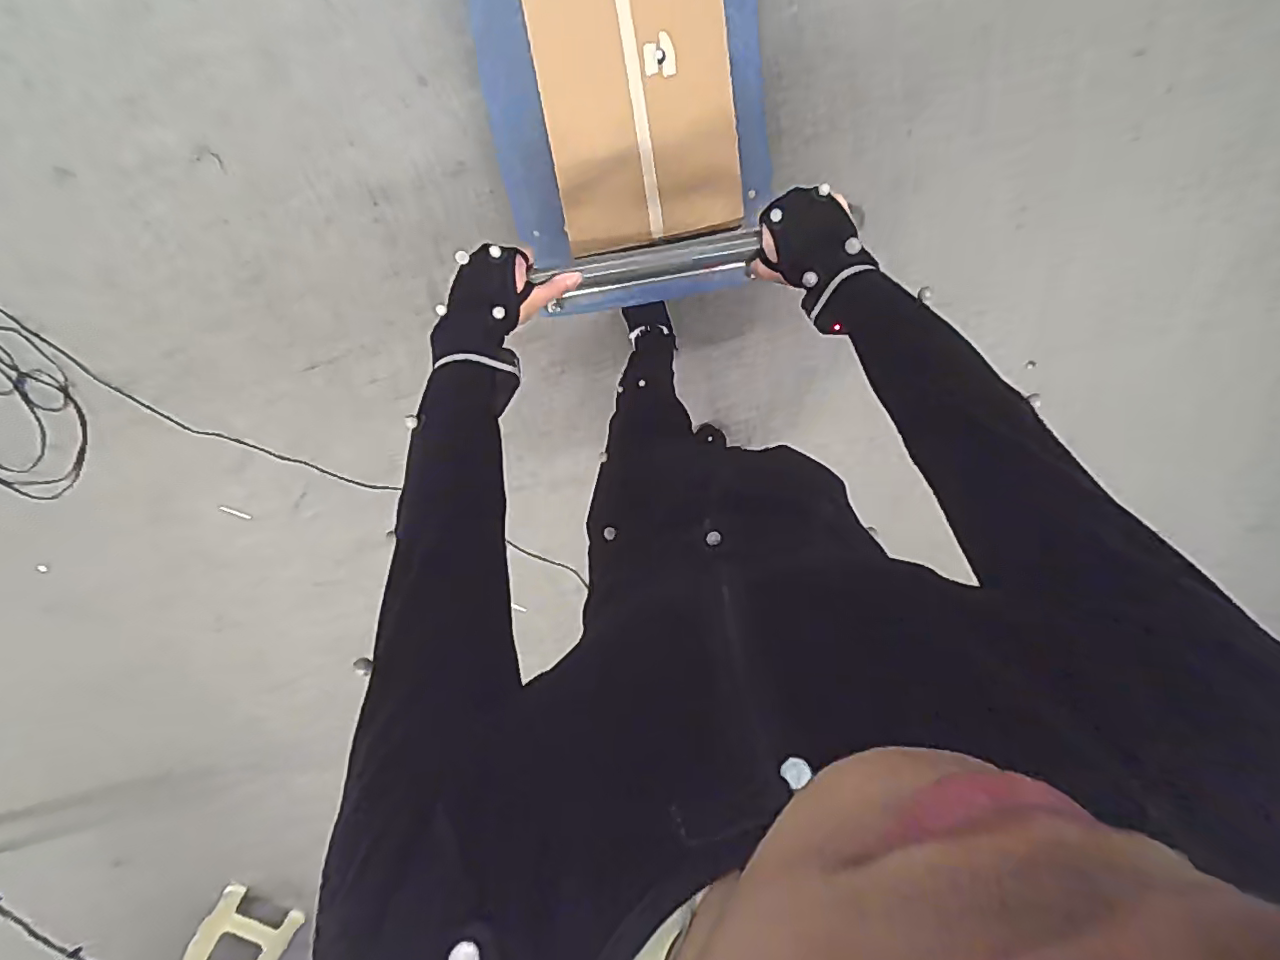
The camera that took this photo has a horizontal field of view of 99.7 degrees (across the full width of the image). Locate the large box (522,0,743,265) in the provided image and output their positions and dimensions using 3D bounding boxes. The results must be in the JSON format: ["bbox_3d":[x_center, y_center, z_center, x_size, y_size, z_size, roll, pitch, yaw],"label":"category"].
[{"bbox_3d":[0.001,-0.658,1.040,0.320,0.320,0.408,-9,108,4],"label":"large box"}]
